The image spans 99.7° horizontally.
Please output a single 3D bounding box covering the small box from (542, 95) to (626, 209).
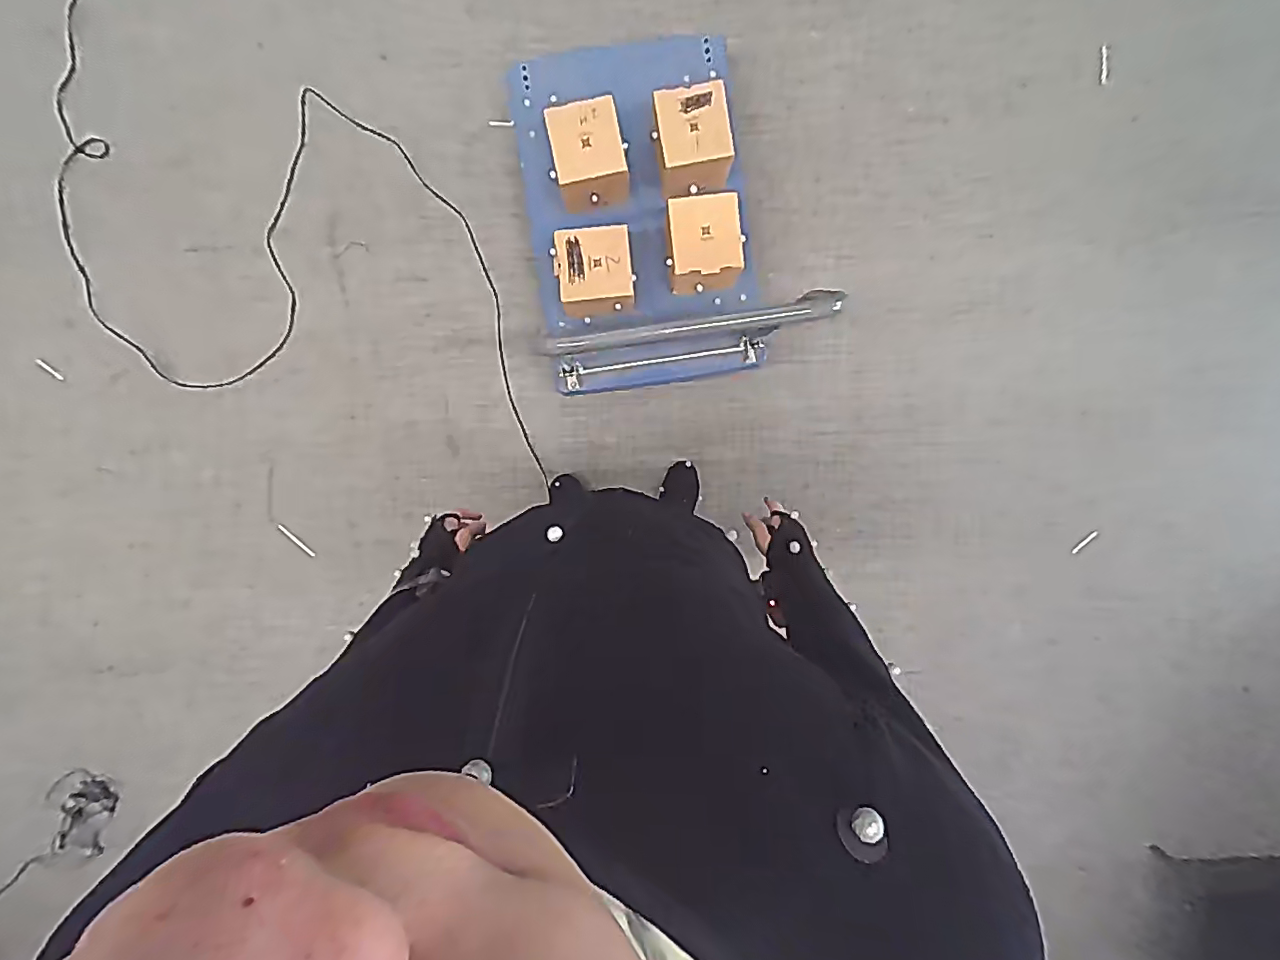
[{"bbox_3d":[-0.130,-0.792,1.328,0.168,0.176,0.179,-12,93,-1],"label":"small box"}]

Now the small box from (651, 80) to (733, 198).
[{"bbox_3d":[0.122,-0.829,1.329,0.168,0.176,0.179,-10,94,1],"label":"small box"}]

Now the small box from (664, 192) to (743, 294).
[{"bbox_3d":[0.151,-0.583,1.347,0.168,0.176,0.179,-7,93,0],"label":"small box"}]
